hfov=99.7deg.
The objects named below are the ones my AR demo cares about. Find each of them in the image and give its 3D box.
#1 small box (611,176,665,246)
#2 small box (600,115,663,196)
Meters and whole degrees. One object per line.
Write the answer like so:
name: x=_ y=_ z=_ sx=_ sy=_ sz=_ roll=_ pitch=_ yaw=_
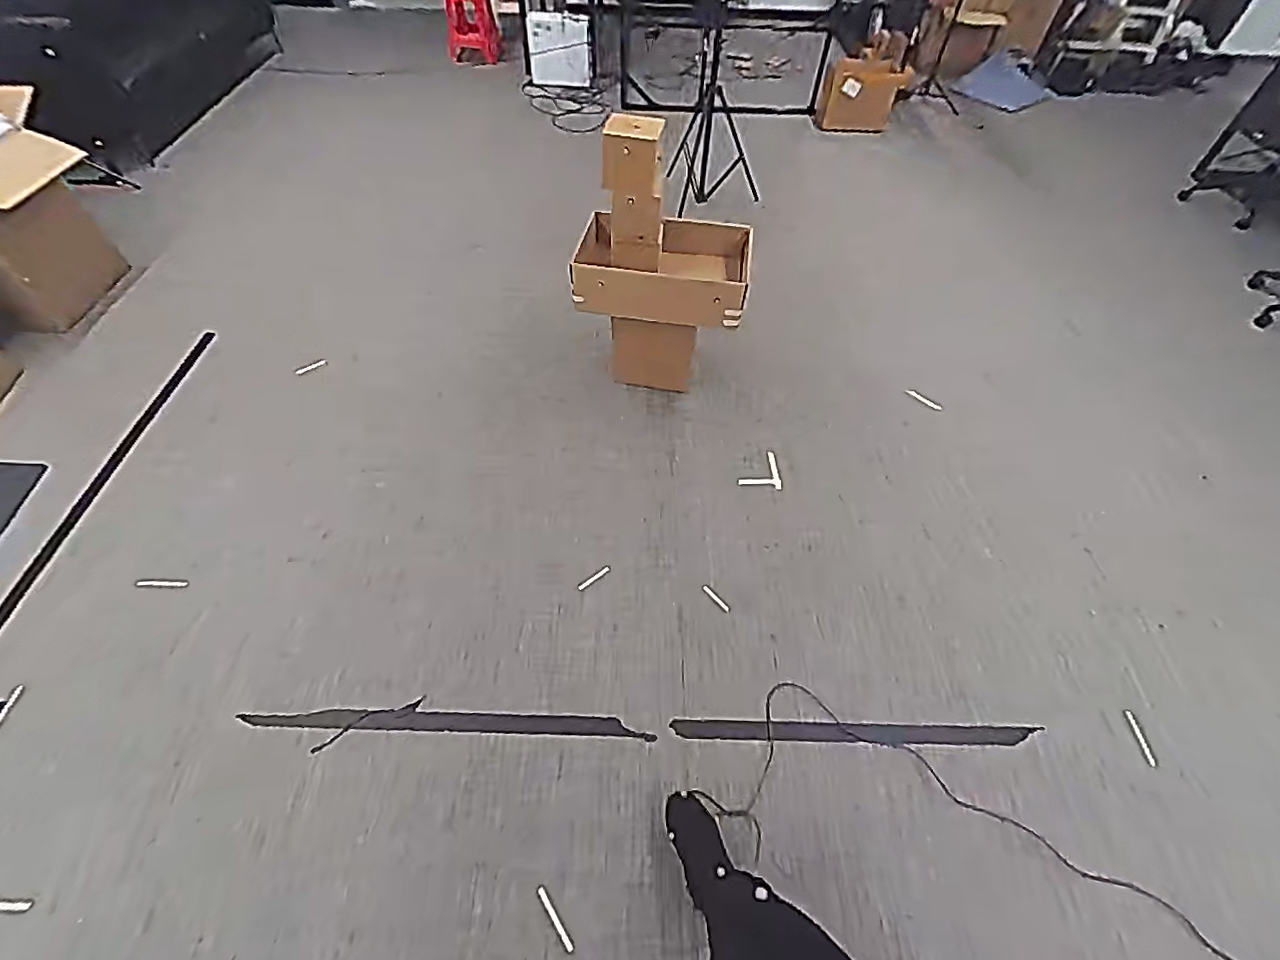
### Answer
small box: x=-0.010 y=-0.936 z=1.867 sx=0.168 sy=0.176 sz=0.179 roll=6 pitch=52 yaw=2
small box: x=-0.027 y=-1.038 z=1.738 sx=0.179 sy=0.176 sz=0.168 roll=9 pitch=53 yaw=4
